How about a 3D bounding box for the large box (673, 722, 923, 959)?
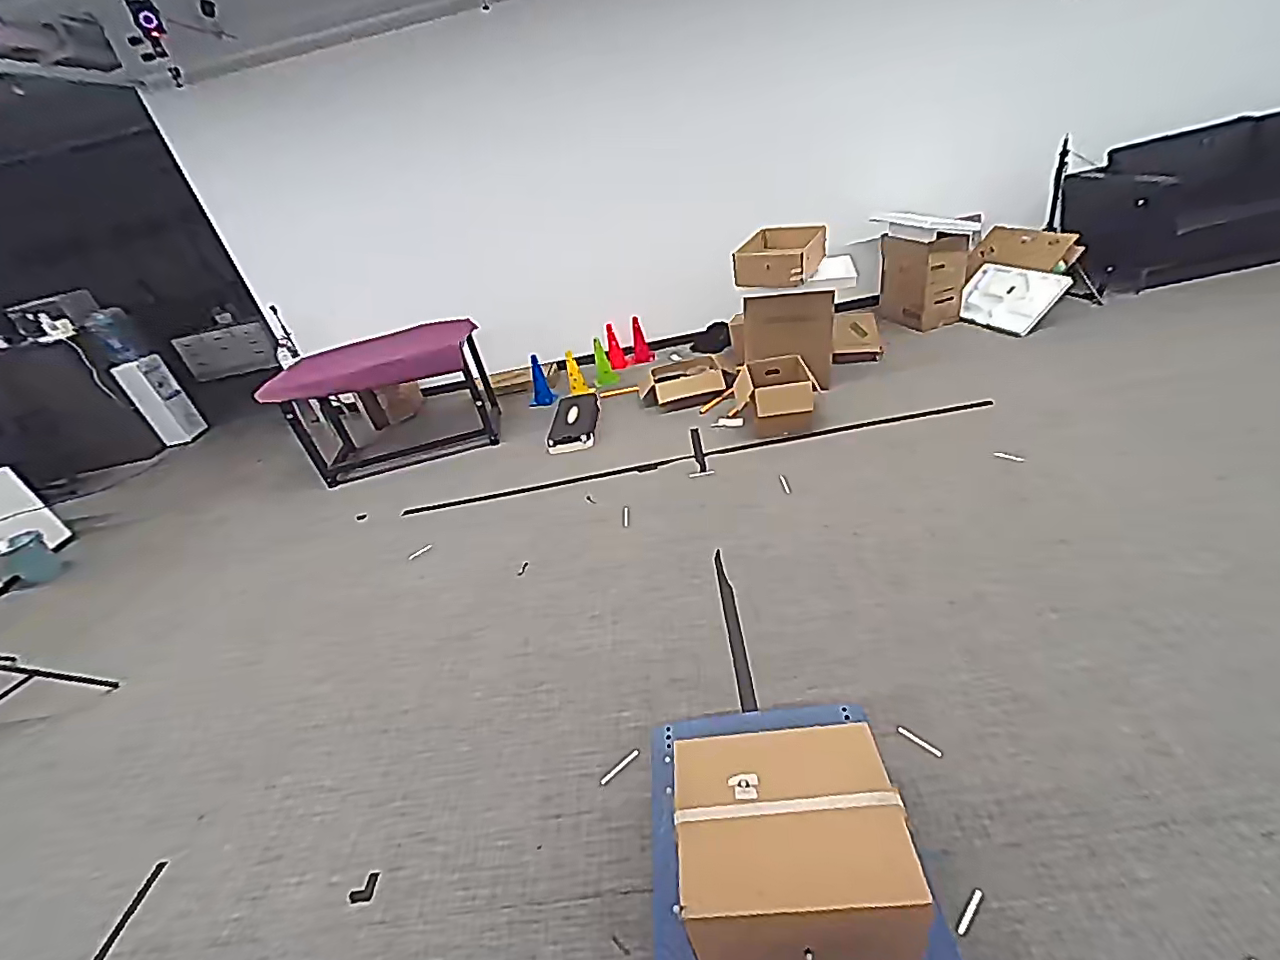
[{"bbox_3d":[0.298,0.741,1.095,0.408,0.320,0.320,-10,31,7],"label":"large box"}]
